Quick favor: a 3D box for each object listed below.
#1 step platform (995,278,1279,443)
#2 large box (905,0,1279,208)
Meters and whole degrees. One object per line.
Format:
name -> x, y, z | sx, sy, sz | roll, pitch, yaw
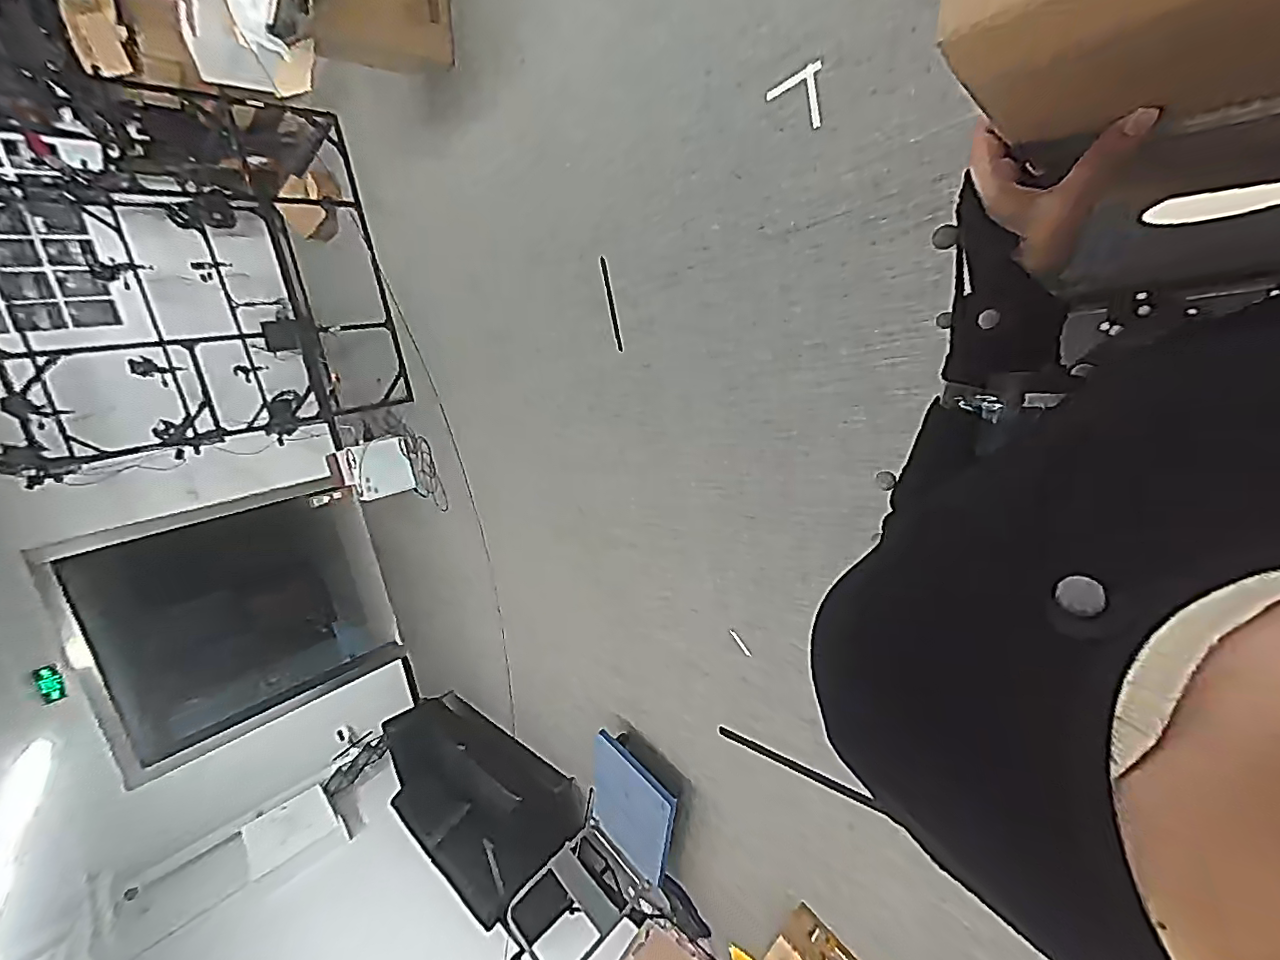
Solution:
step platform -> 1.081, -0.228, 1.025 | 0.684, 0.204, 0.286 | 11, 114, 47
large box -> 0.369, -0.335, 0.184 | 0.408, 0.320, 0.320 | 12, 106, 48
